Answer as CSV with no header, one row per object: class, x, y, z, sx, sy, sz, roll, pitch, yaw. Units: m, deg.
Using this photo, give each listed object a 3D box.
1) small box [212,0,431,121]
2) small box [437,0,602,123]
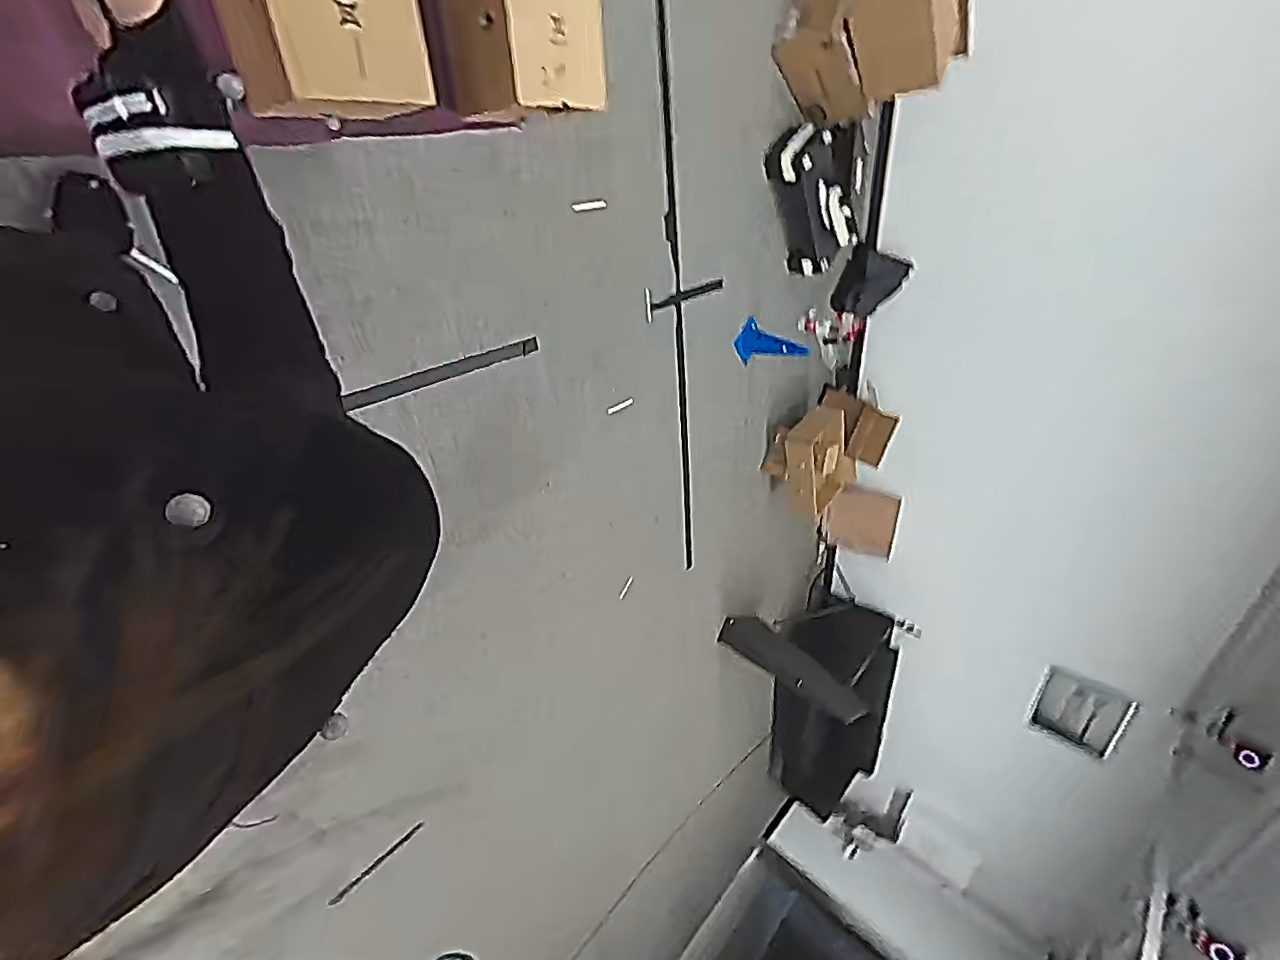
small box,-0.377,-0.534,0.630,0.168,0.176,0.179,-29,129,-37
small box,-0.179,-0.646,0.800,0.168,0.176,0.179,-28,127,-37
